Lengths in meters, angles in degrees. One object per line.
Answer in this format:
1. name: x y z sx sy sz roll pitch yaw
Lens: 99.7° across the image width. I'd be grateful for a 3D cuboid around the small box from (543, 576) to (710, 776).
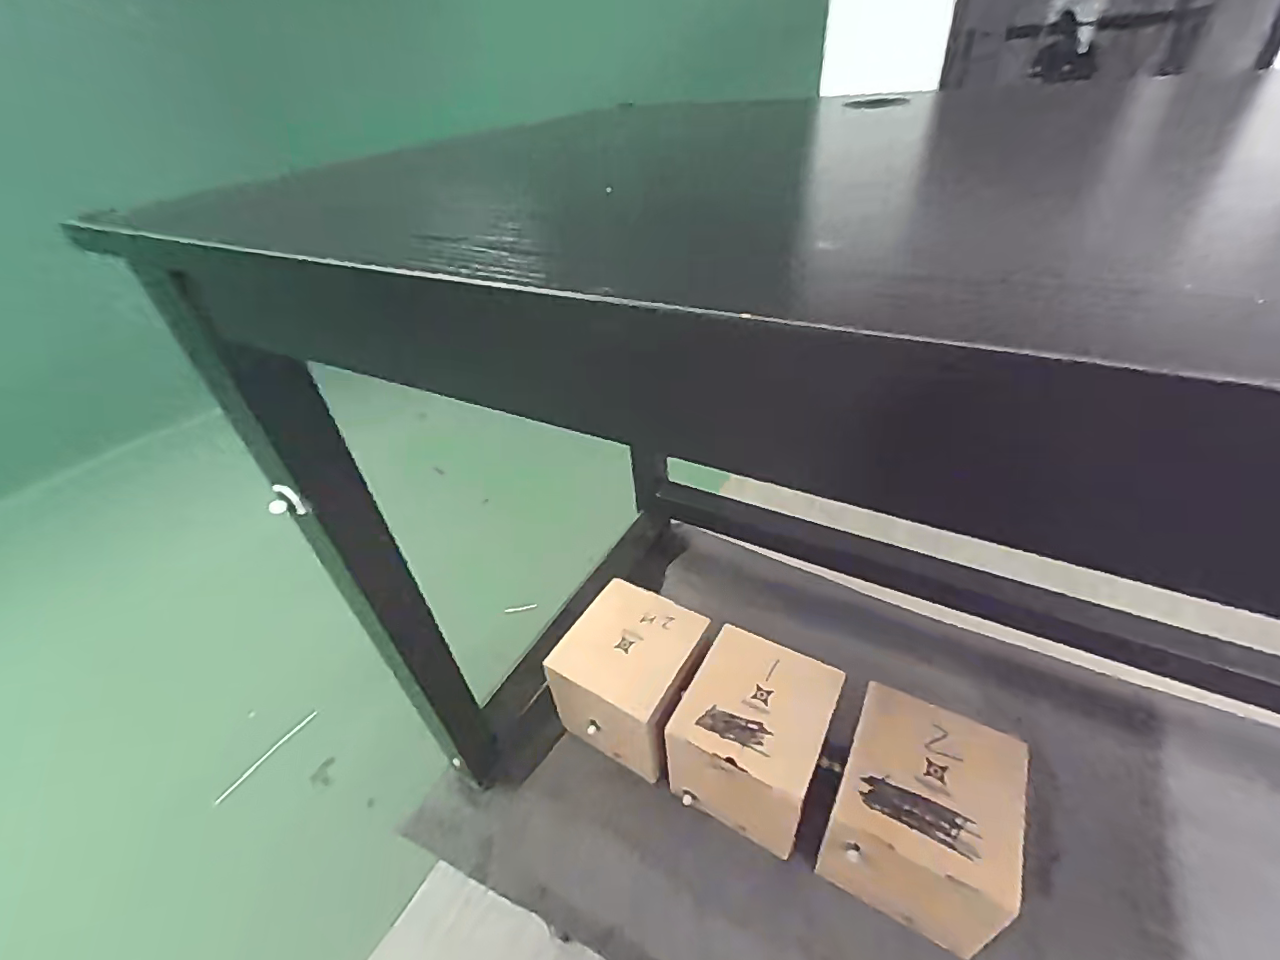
1. small box: -0.010 0.278 0.774 0.168 0.176 0.179 20 44 27
